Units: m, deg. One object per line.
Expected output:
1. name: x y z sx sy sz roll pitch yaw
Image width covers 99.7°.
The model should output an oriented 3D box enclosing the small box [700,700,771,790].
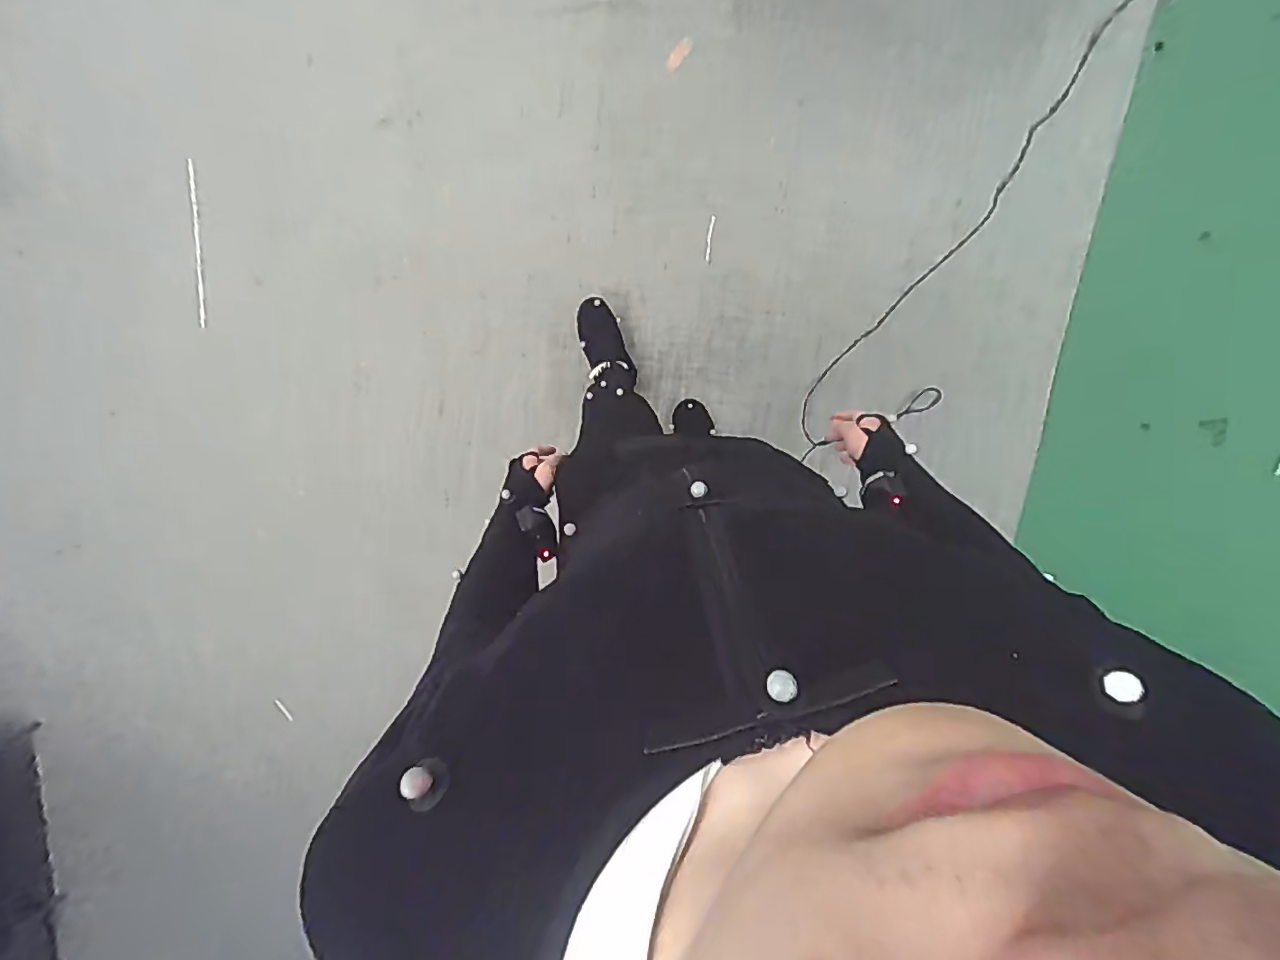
1. small box: 0.290 0.820 1.691 0.179 0.176 0.168 16 102 2
